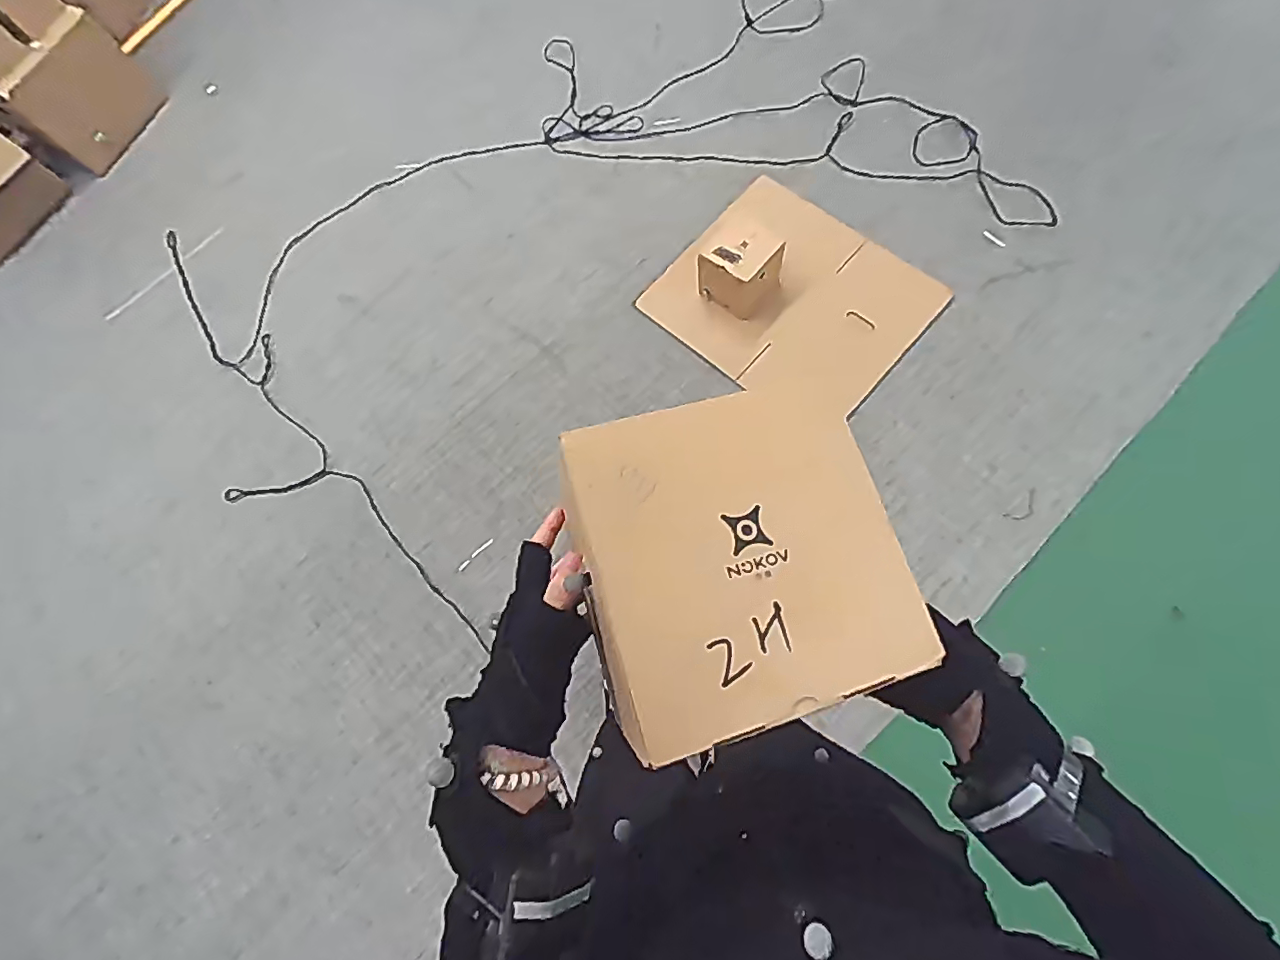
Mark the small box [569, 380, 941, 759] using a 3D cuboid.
[{"bbox_3d":[0.049,0.059,0.366,0.168,0.176,0.179,-14,76,-11],"label":"small box"}]

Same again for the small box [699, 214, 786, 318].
[{"bbox_3d":[0.285,-0.595,1.523,0.168,0.176,0.179,39,80,15],"label":"small box"}]
